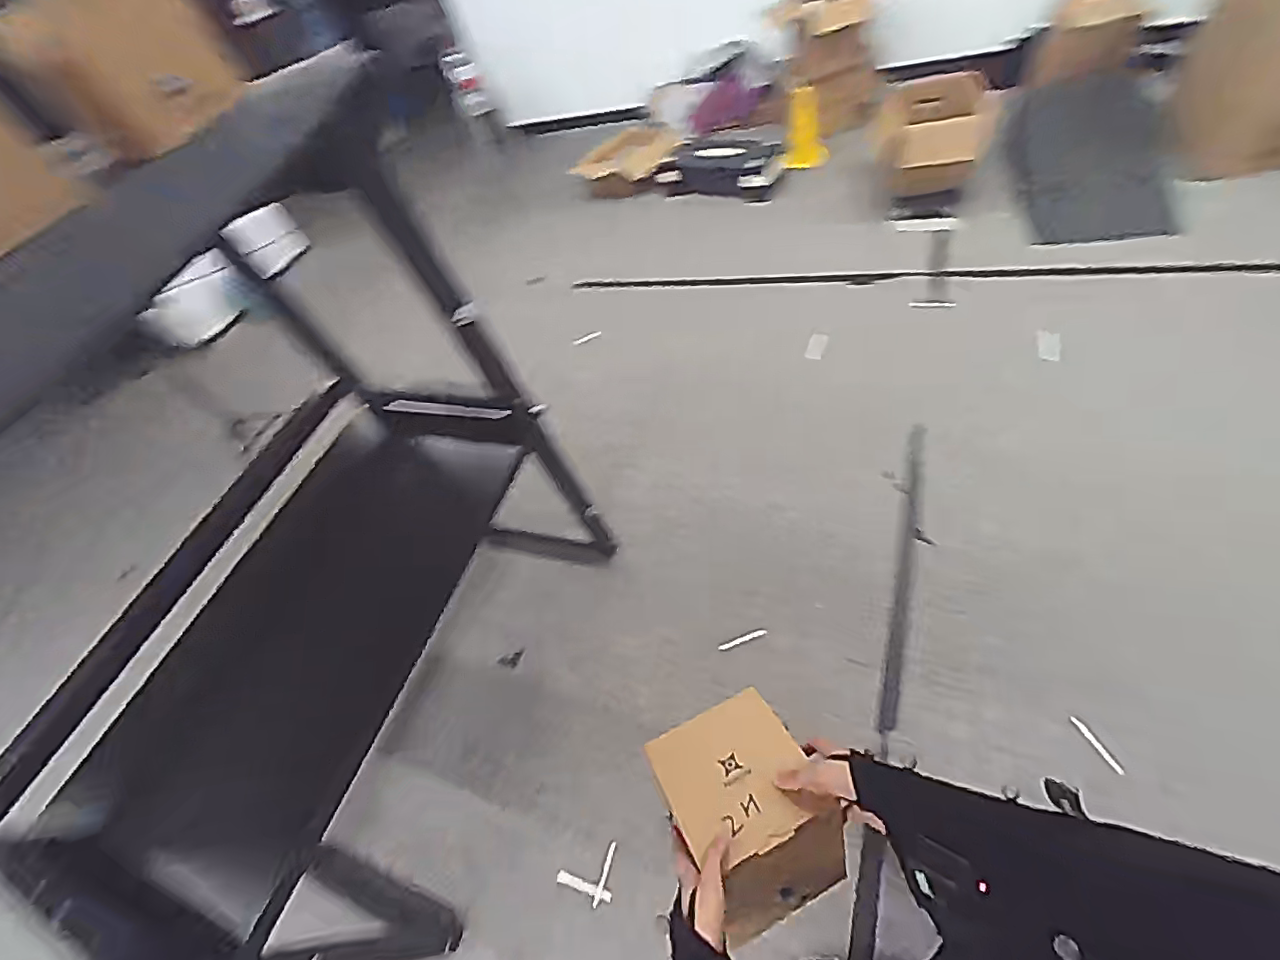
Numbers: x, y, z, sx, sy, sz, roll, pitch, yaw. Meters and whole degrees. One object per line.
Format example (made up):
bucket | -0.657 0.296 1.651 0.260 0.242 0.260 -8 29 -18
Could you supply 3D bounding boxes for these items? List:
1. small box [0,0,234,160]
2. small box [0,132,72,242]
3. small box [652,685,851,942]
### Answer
small box | -0.709 -0.552 0.721 0.179 0.176 0.168 13 61 25
small box | -0.834 -0.359 0.621 0.168 0.176 0.179 23 65 30
small box | 0.133 0.398 0.657 0.168 0.176 0.179 -22 31 -11
